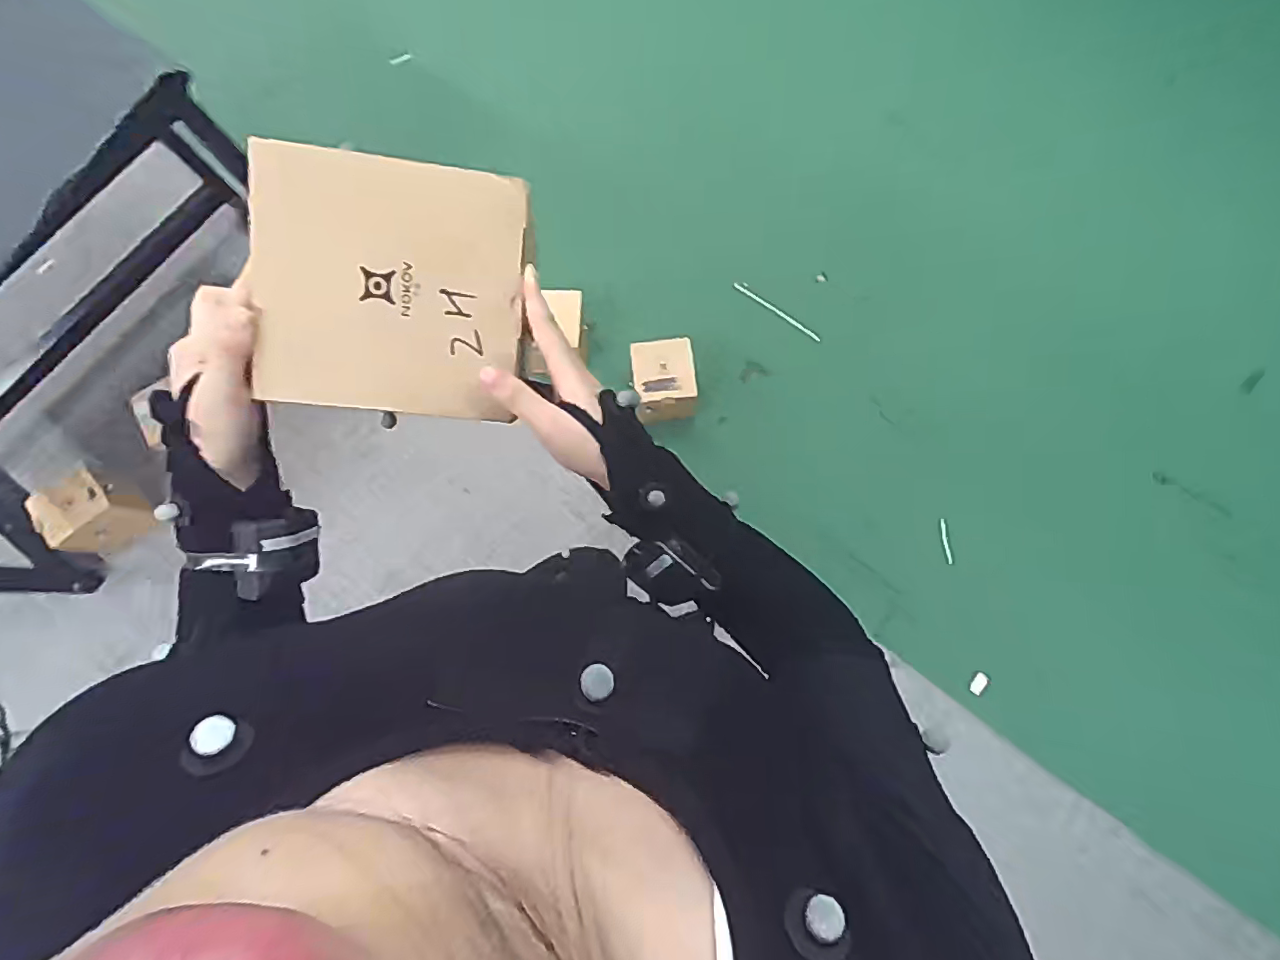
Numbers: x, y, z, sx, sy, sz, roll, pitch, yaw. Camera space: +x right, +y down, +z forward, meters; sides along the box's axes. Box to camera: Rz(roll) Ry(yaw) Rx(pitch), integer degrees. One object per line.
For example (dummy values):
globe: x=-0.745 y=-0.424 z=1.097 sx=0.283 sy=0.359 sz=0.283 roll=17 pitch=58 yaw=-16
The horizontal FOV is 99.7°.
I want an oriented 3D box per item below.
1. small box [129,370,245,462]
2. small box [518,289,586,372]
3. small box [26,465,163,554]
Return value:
small box: x=-1.275 y=-0.177 z=1.541 sx=0.179 sy=0.176 sz=0.168 roll=-33 pitch=78 yaw=-4
small box: x=-0.249 y=-0.429 z=1.567 sx=0.168 sy=0.176 sz=0.179 roll=1 pitch=78 yaw=2
small box: x=-1.493 y=0.089 z=1.490 sx=0.179 sy=0.176 sz=0.168 roll=-41 pitch=80 yaw=-6
